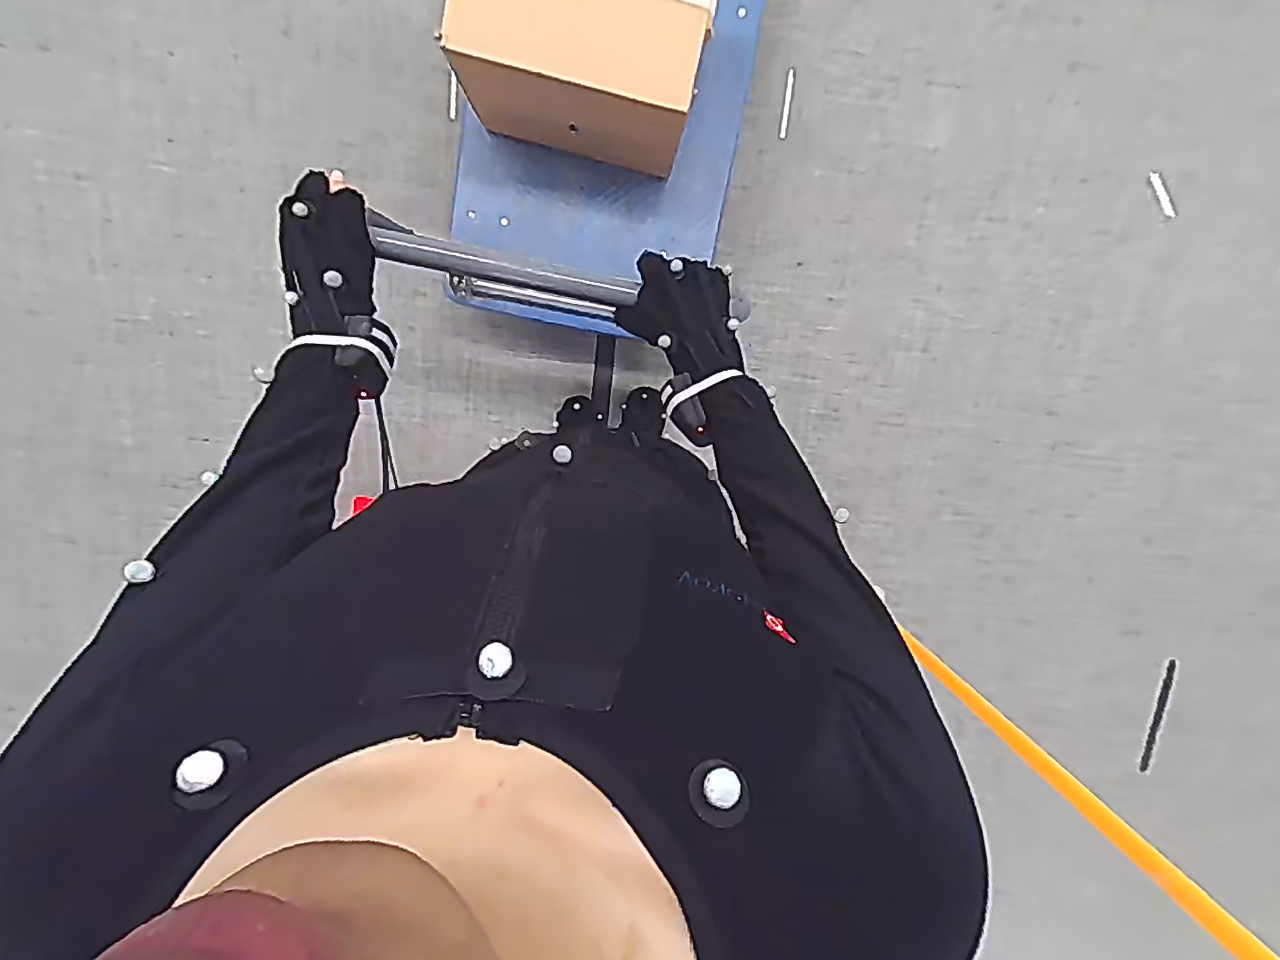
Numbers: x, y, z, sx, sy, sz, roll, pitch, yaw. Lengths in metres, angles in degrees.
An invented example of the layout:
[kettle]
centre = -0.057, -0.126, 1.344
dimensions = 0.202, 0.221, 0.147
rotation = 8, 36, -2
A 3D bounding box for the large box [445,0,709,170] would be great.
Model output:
[large box]
centre = -0.090, -0.817, 0.987
dimensions = 0.408, 0.320, 0.320
rotation = 12, 101, -4
